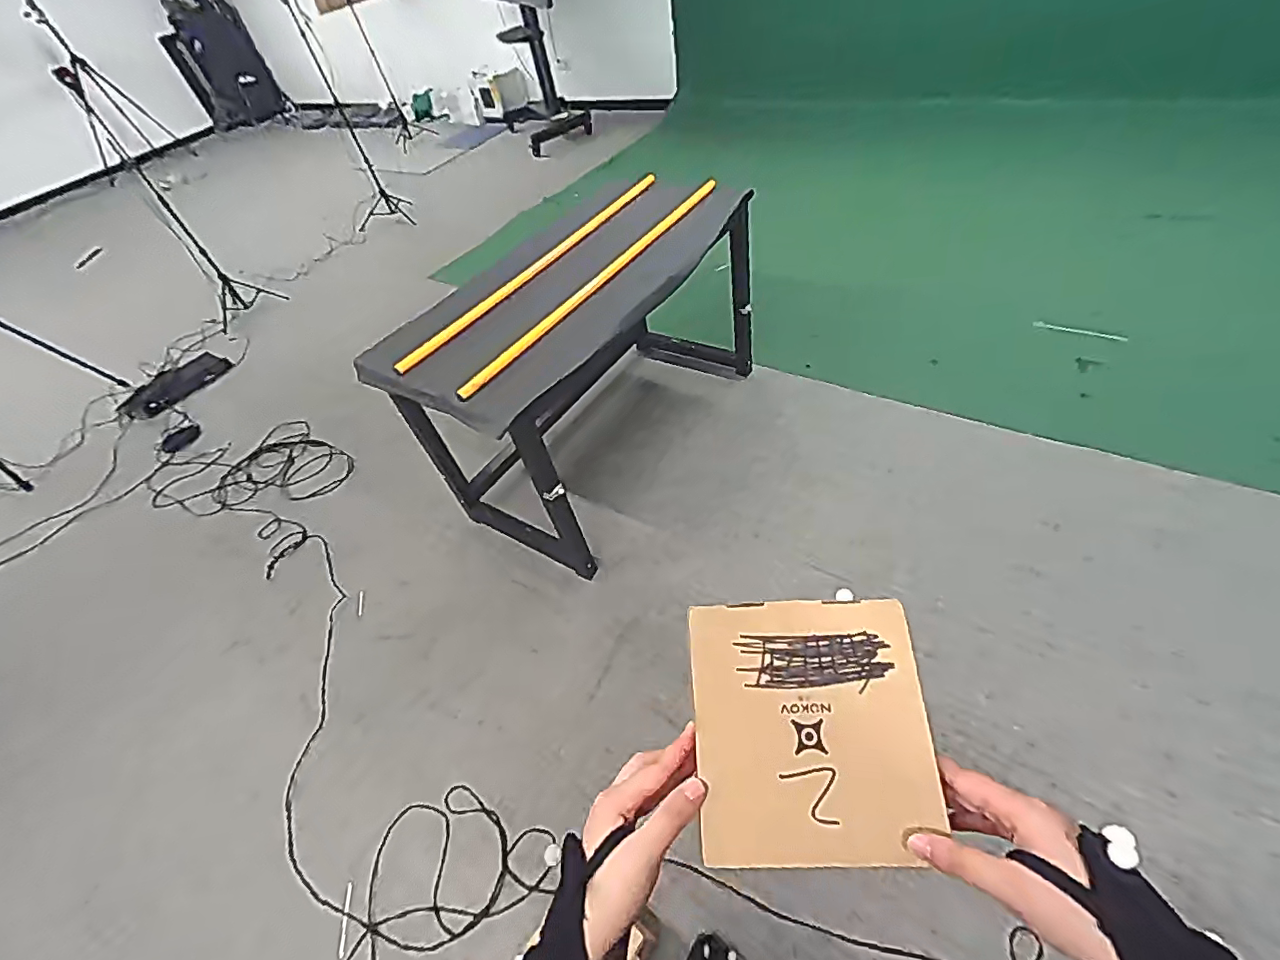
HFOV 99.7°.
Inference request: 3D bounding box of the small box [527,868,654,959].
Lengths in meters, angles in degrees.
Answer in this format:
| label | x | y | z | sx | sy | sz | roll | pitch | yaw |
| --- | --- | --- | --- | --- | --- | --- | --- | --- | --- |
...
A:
| label | x | y | z | sx | sy | sz | roll | pitch | yaw |
| --- | --- | --- | --- | --- | --- | --- | --- | --- | --- |
| small box | -0.090 | 0.934 | 1.094 | 0.179 | 0.176 | 0.168 | 28 | 59 | 31 |
